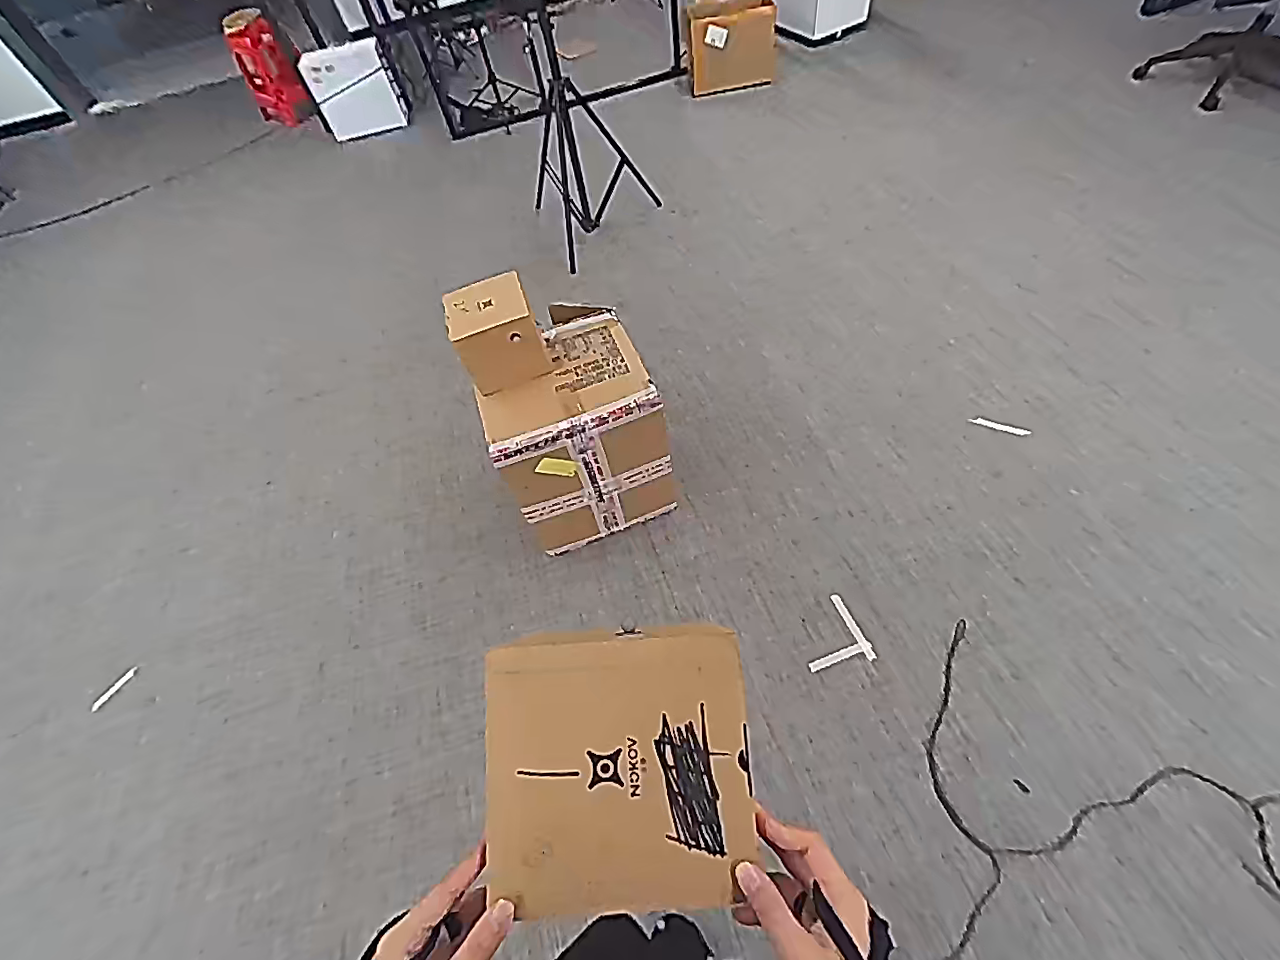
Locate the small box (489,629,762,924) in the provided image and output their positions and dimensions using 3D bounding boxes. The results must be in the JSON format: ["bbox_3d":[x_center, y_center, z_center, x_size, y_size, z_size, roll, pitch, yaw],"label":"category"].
[{"bbox_3d":[-0.014,0.212,0.437,0.179,0.176,0.168,-4,76,-1],"label":"small box"}]

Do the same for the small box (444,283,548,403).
[{"bbox_3d":[-0.319,-0.307,1.228,0.179,0.176,0.168,-20,55,-2],"label":"small box"}]
